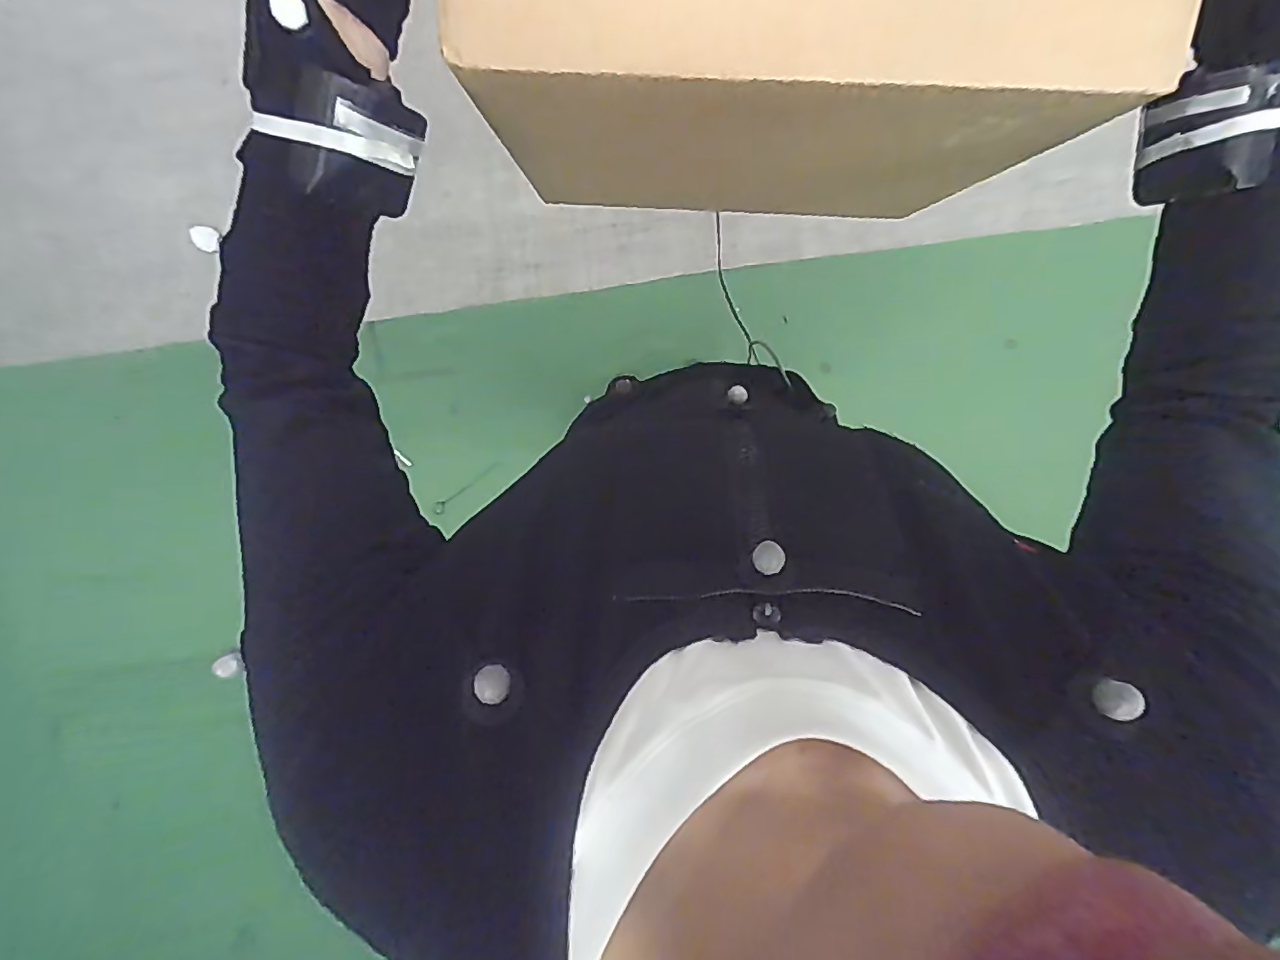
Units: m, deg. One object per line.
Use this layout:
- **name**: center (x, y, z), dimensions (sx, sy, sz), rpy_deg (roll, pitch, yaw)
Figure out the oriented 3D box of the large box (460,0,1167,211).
- **large box**: center (0.096, -0.412, 0.419), dimensions (0.408, 0.320, 0.320), rpy_deg (1, 105, 0)
